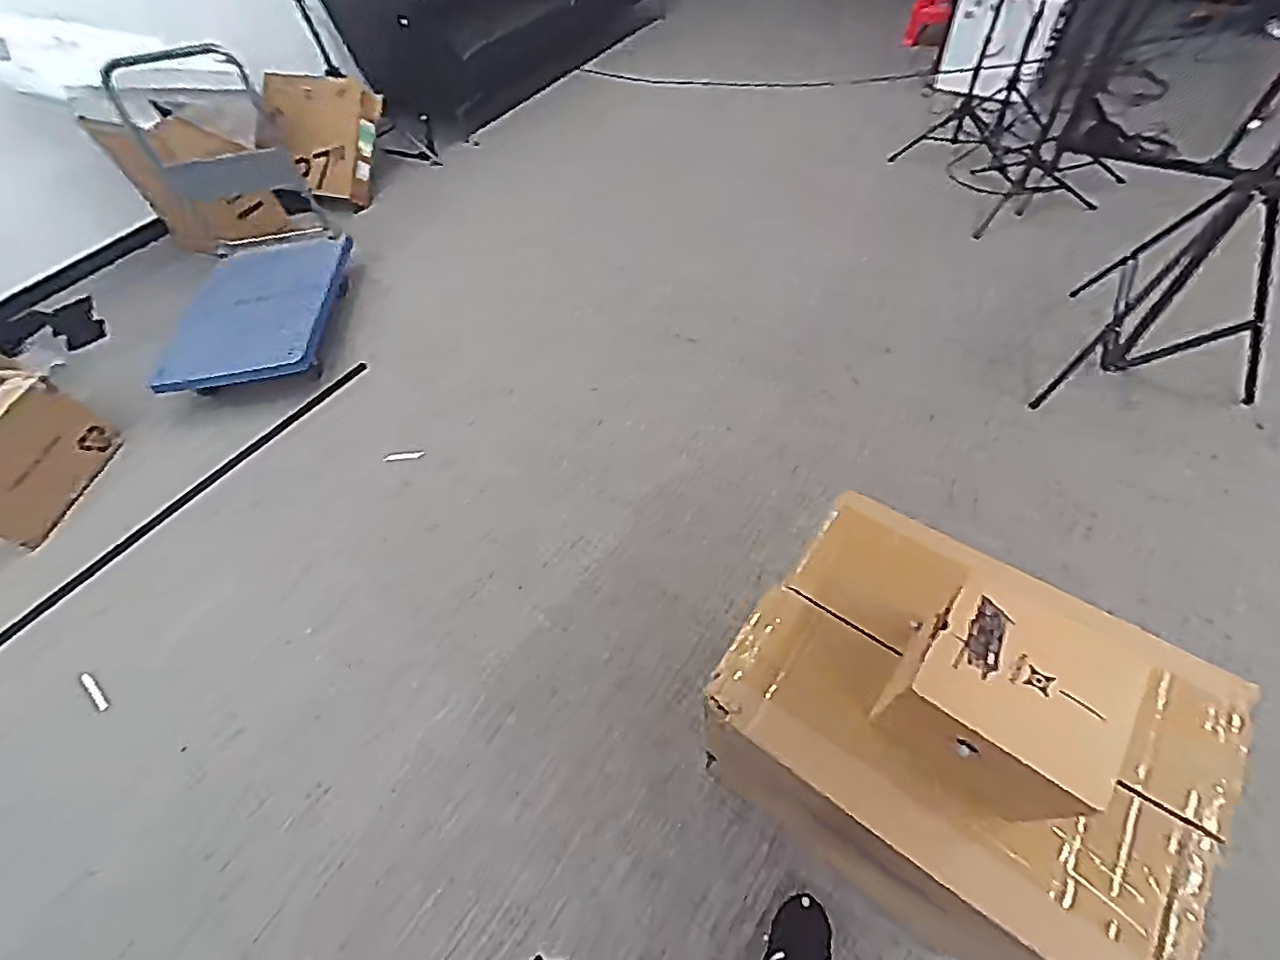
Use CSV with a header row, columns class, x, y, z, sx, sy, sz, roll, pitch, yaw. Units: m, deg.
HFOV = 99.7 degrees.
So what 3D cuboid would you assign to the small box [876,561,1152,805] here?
class,x,y,z,sx,sy,sz,roll,pitch,yaw
small box,0.390,0.228,0.596,0.179,0.176,0.168,31,65,25
